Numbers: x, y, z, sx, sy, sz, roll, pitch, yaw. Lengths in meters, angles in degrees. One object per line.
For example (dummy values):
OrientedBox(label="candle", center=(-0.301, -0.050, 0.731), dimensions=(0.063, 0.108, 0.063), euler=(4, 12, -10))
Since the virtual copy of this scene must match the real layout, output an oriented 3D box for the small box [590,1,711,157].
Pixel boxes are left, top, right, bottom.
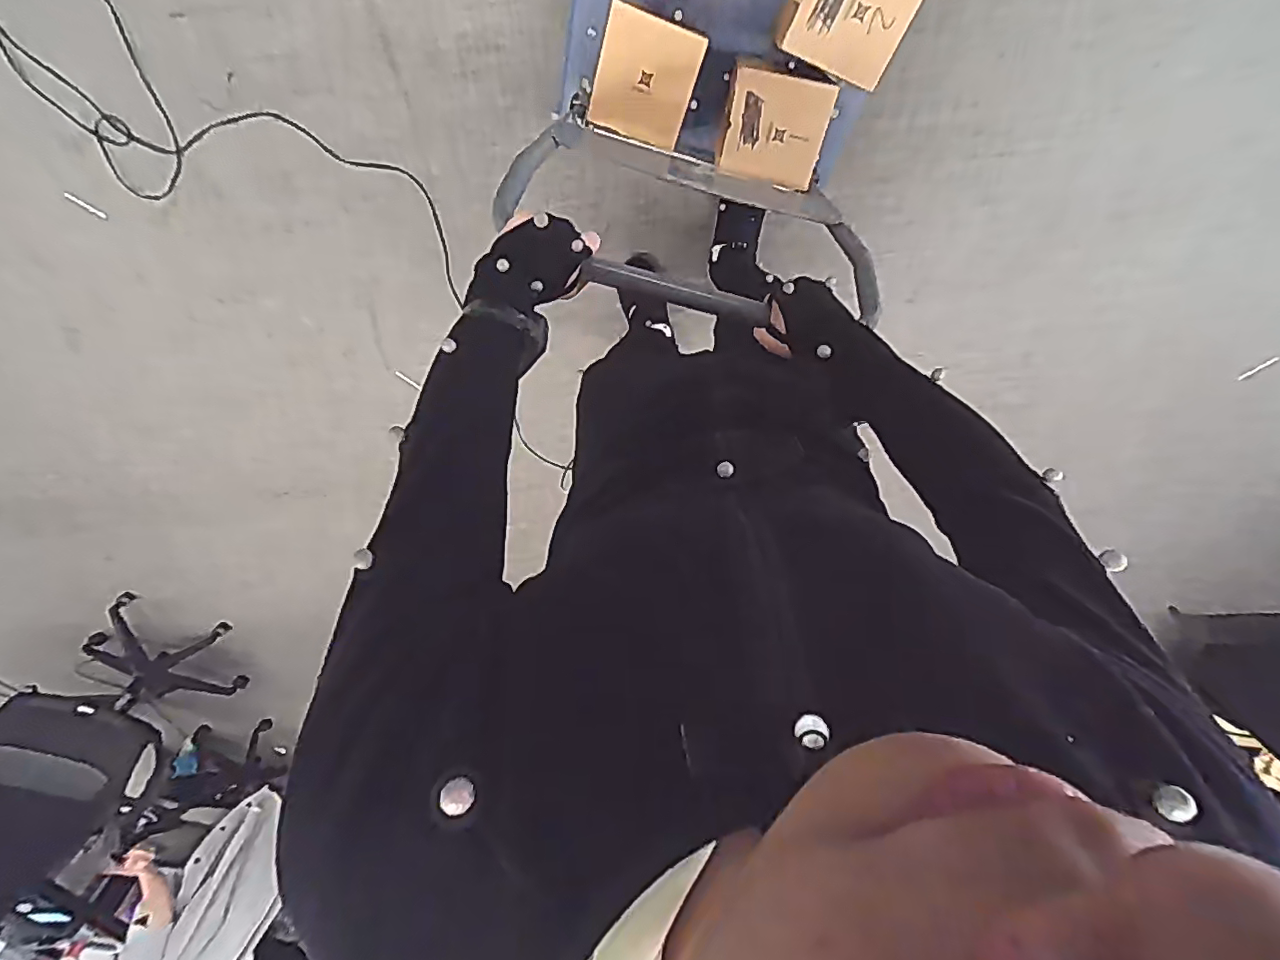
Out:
OrientedBox(label="small box", center=(0.017, -0.729, 0.980), dimensions=(0.168, 0.176, 0.179), euler=(16, 134, -9))
